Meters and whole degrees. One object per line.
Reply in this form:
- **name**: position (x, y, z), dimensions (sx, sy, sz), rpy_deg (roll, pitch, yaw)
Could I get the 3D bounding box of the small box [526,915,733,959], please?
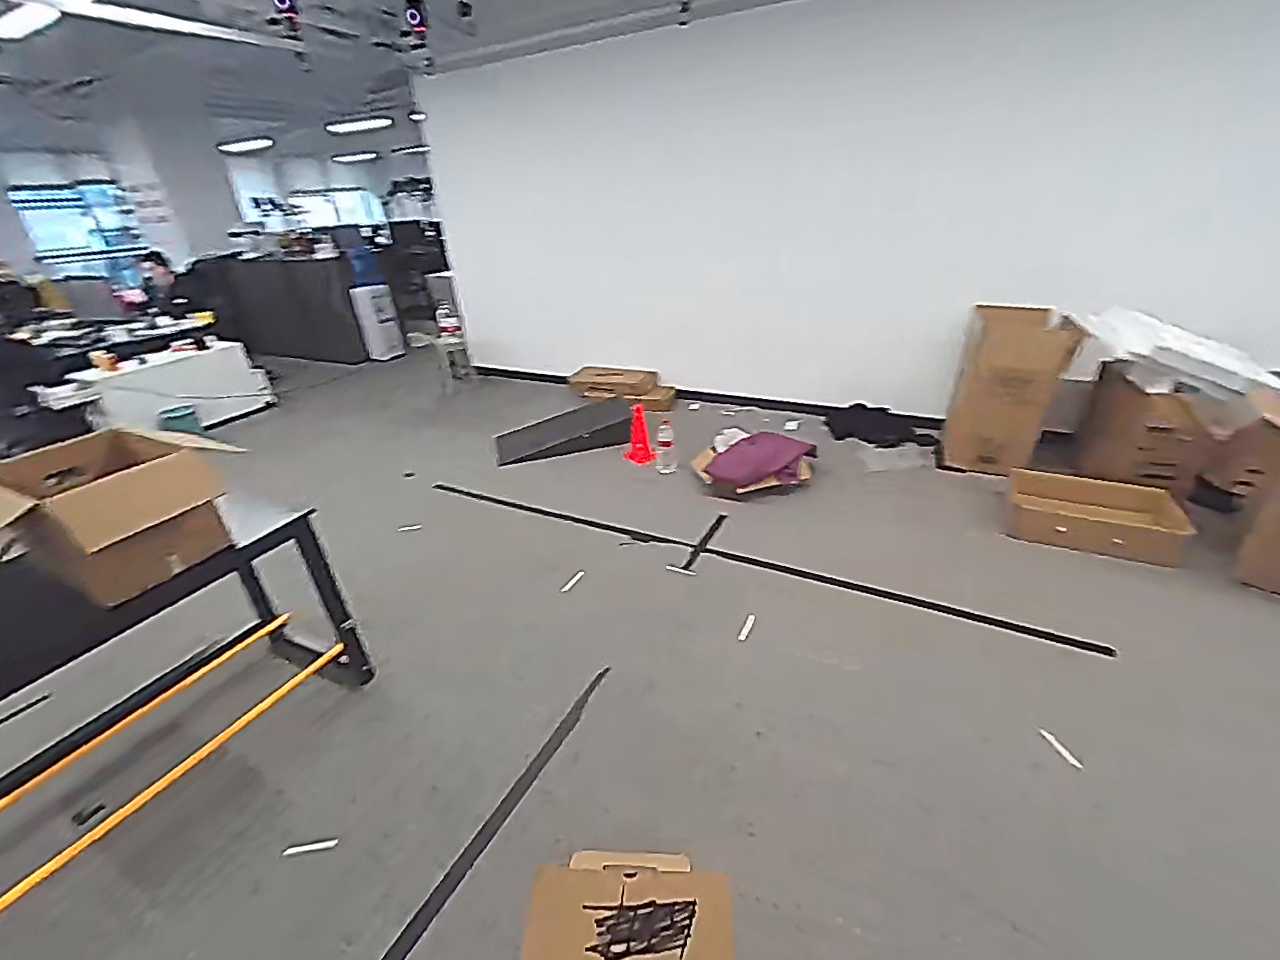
- **small box**: position (-0.009, 0.475, 0.423), dimensions (0.168, 0.176, 0.179), rpy_deg (-1, 38, 2)
